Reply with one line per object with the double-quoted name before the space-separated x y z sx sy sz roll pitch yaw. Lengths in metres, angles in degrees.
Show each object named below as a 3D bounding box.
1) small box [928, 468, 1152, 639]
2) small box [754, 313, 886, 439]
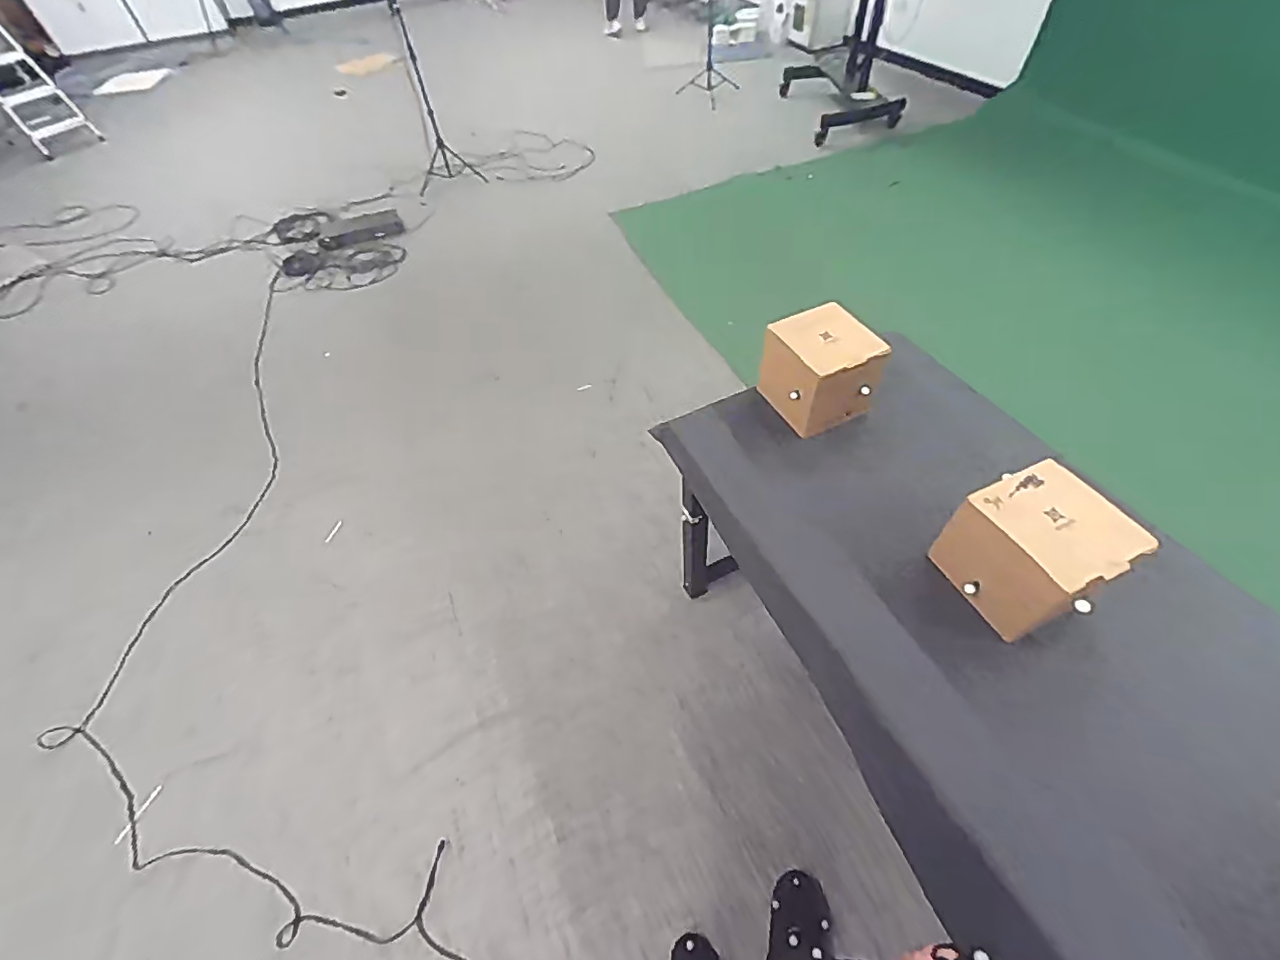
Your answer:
"small box" 0.585 0.118 0.819 0.168 0.176 0.179 -20 53 -14
"small box" 0.352 -0.202 1.093 0.168 0.176 0.179 -21 52 -17
